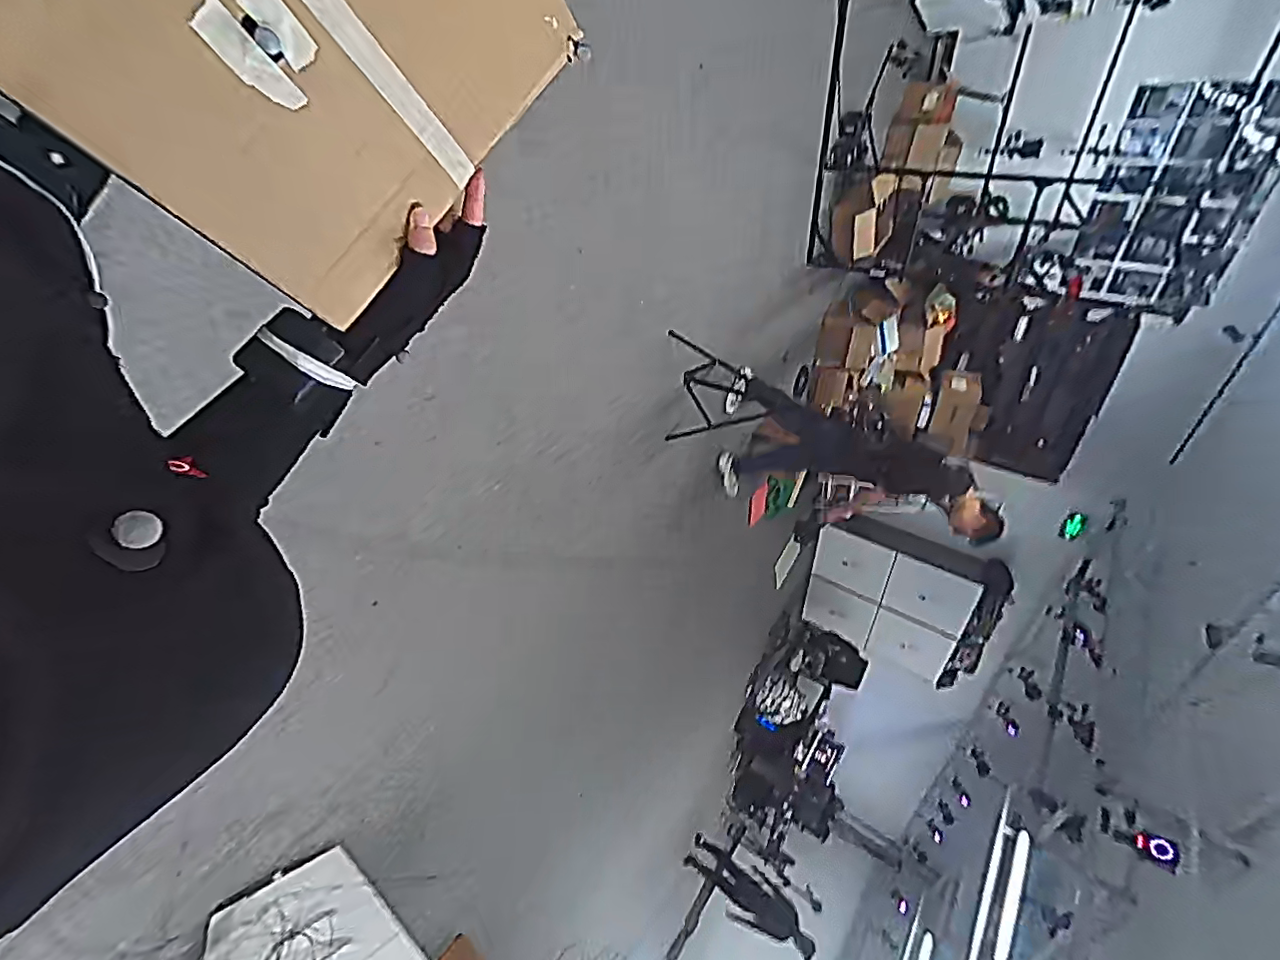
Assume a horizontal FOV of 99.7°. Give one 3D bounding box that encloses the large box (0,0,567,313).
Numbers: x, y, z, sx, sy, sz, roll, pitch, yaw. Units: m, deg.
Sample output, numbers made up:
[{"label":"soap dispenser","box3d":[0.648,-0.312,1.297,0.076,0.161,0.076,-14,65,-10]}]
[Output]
[{"label":"large box","box3d":[-0.336,-0.393,0.366,0.320,0.320,0.408,-53,145,-4]}]
